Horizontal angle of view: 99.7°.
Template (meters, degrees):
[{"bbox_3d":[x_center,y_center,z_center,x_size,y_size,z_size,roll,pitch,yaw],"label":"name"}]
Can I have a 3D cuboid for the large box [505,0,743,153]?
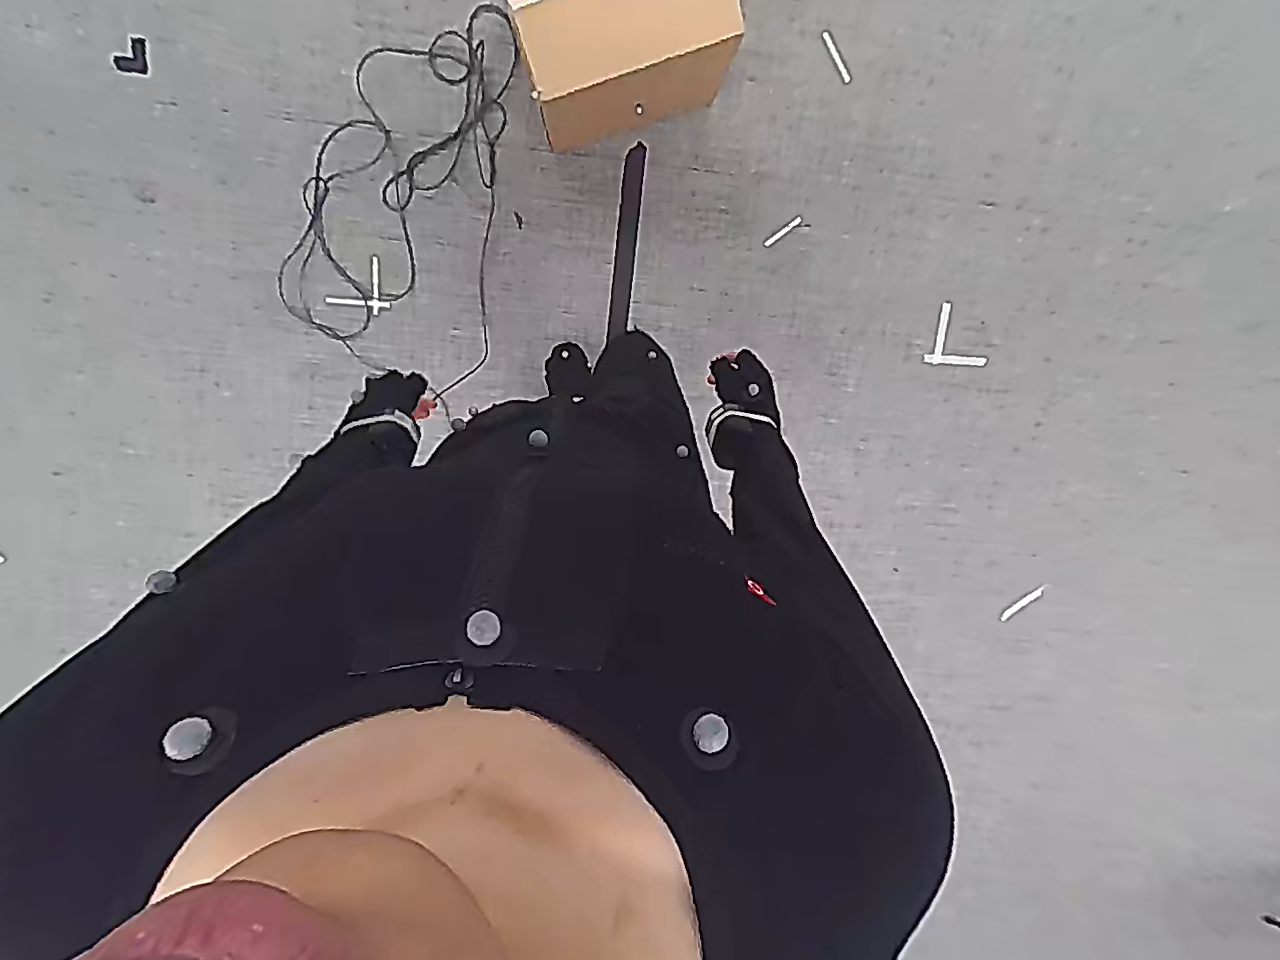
[{"bbox_3d":[-0.049,-0.943,1.112,0.408,0.320,0.320,-18,104,2],"label":"large box"}]
